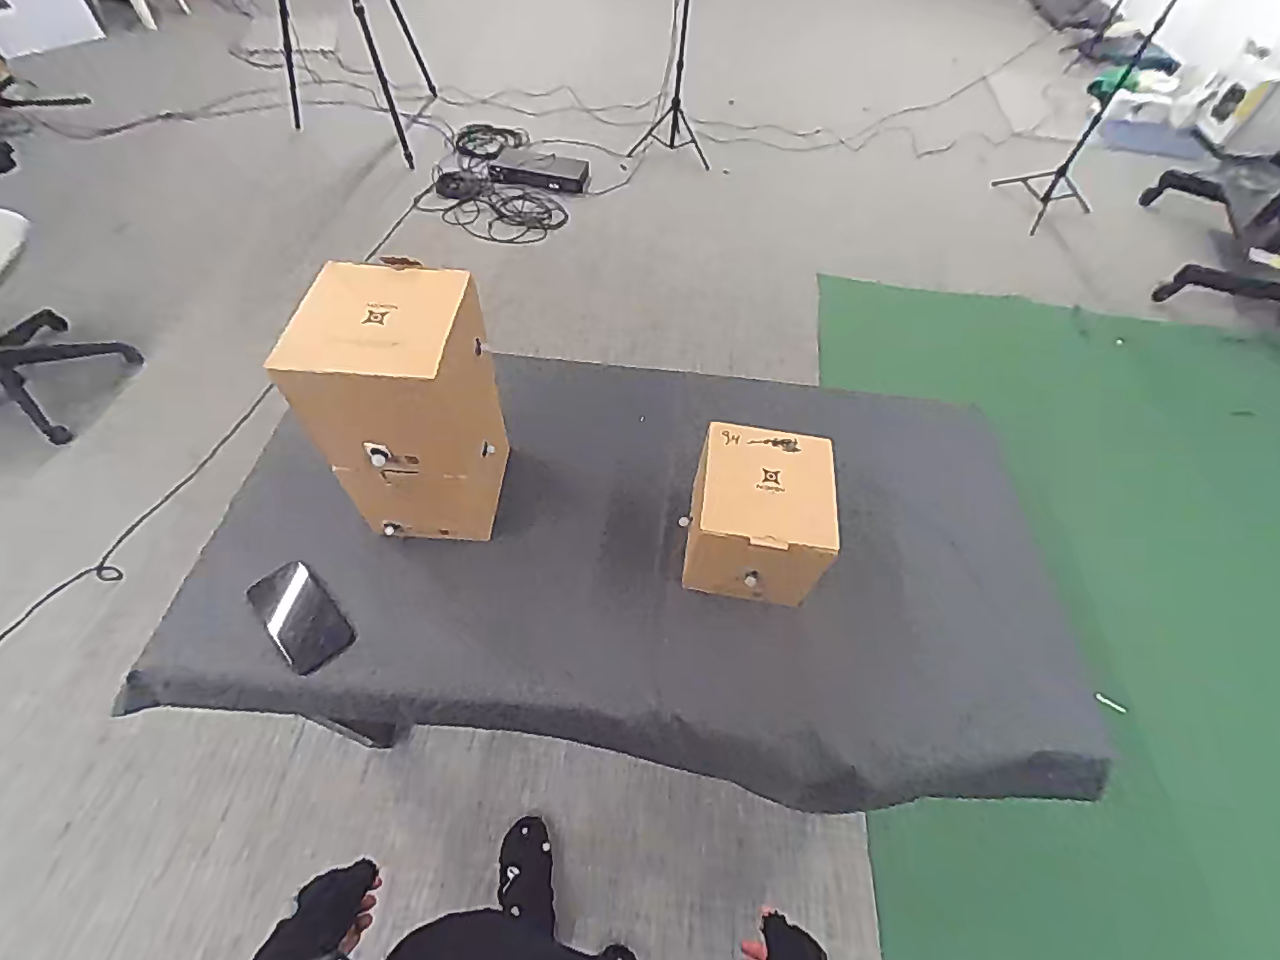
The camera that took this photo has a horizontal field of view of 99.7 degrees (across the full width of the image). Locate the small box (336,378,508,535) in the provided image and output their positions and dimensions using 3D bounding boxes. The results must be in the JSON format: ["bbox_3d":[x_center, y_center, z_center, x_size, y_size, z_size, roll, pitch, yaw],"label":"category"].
[{"bbox_3d":[-0.292,-0.035,0.772,0.168,0.176,0.179,4,54,-2],"label":"small box"}]

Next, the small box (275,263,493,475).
[{"bbox_3d":[-0.278,-0.127,0.639,0.168,0.176,0.179,3,57,-2],"label":"small box"}]

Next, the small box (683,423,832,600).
[{"bbox_3d":[0.156,0.049,0.751,0.168,0.176,0.179,9,56,2],"label":"small box"}]
